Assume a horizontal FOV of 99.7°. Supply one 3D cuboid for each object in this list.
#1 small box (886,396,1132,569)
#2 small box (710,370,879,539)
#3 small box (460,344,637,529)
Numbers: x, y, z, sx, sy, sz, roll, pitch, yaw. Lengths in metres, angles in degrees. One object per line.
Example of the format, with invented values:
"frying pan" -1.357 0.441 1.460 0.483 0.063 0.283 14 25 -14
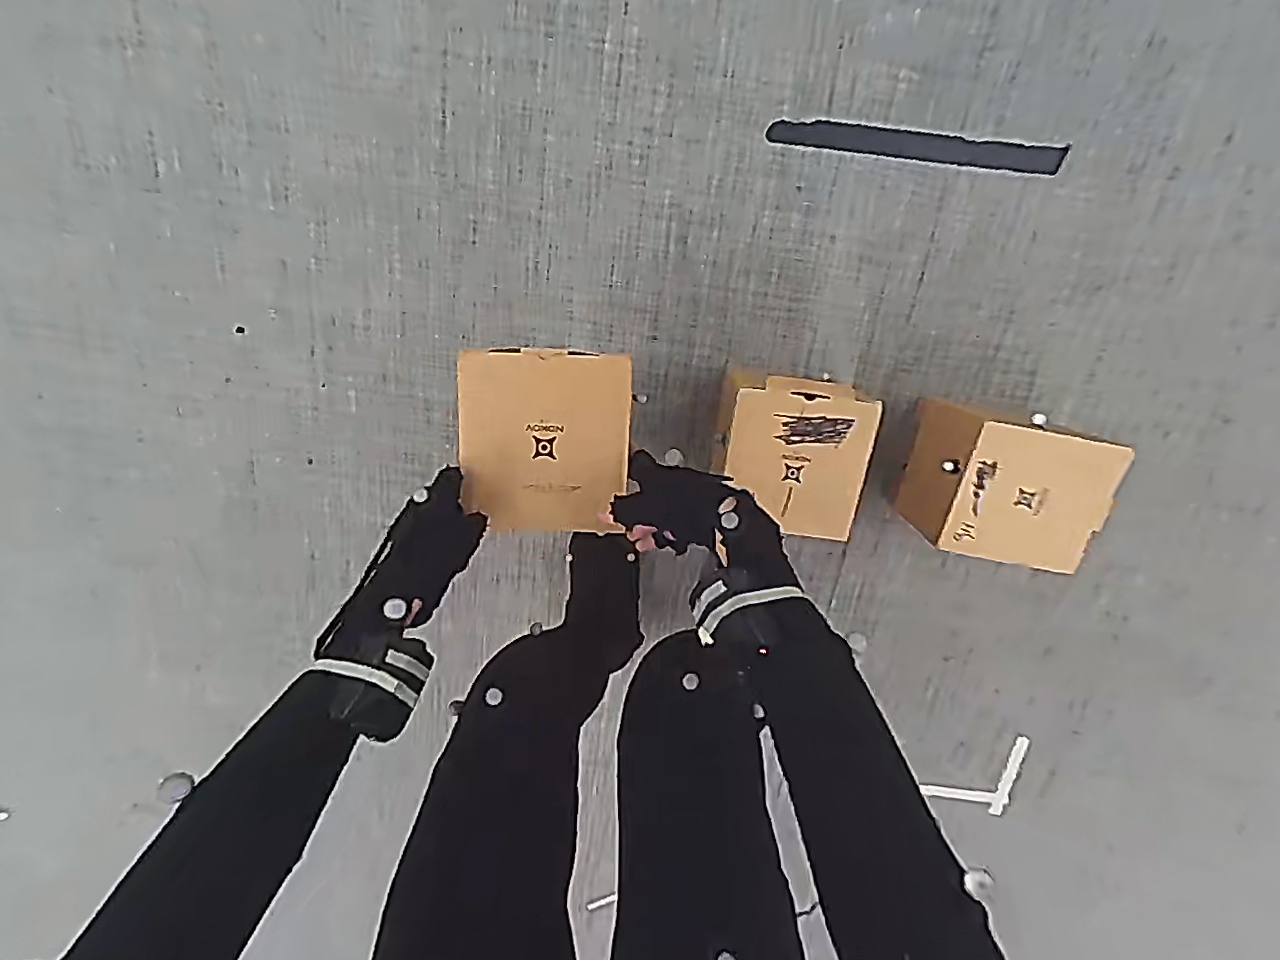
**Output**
"small box" 0.460 -0.006 0.708 0.179 0.176 0.168 10 109 -1
"small box" 0.186 -0.044 0.712 0.168 0.176 0.179 7 109 2
"small box" -0.090 -0.055 0.599 0.168 0.176 0.179 2 102 1
